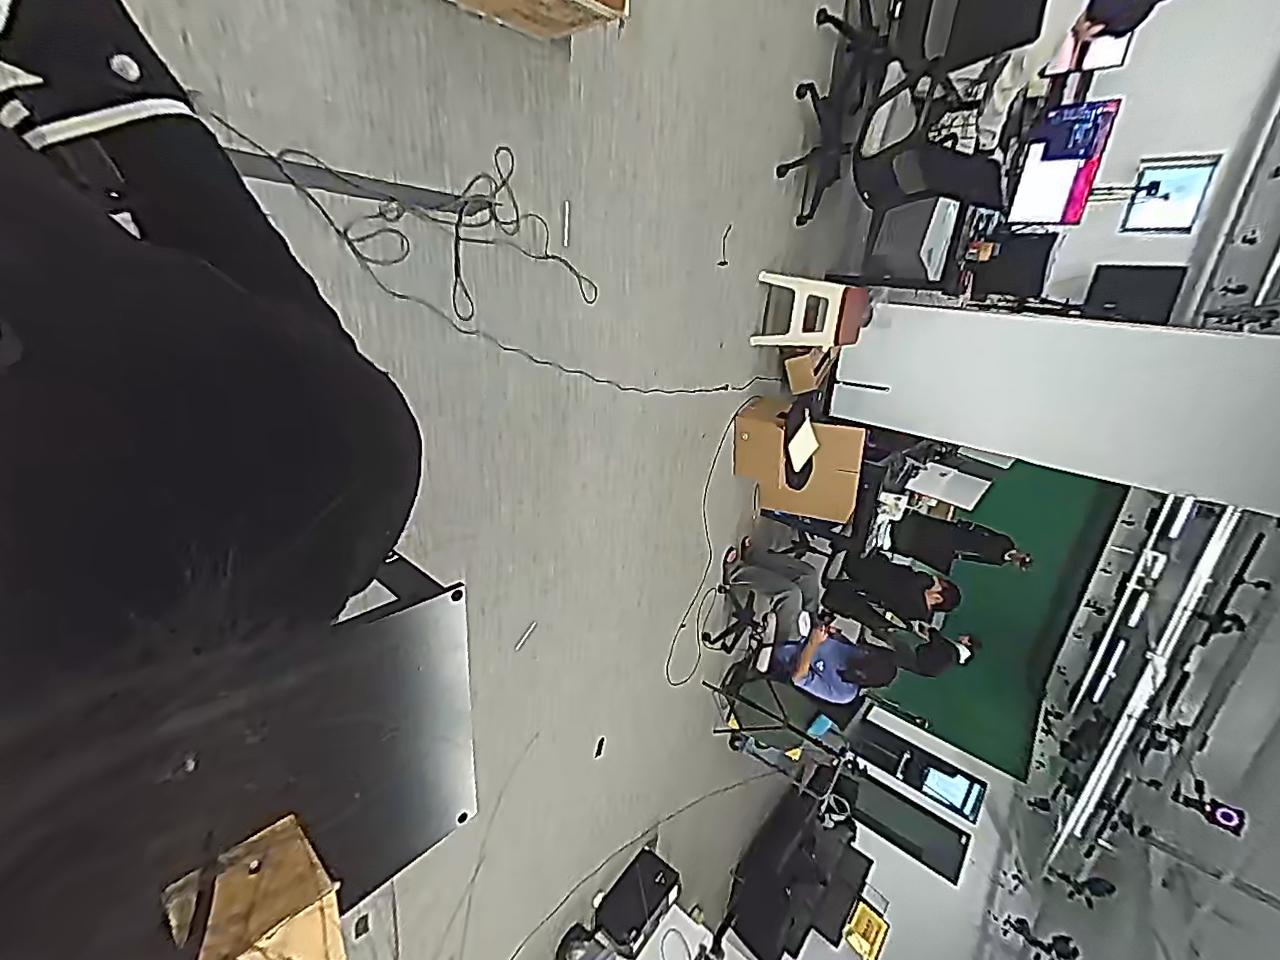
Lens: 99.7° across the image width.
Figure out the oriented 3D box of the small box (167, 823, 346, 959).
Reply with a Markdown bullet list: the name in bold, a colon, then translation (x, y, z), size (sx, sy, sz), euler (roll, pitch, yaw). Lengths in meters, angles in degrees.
- **small box**: translation (-0.559, 0.663, 0.796), size (0.168, 0.176, 0.179), euler (-18, 120, -47)
